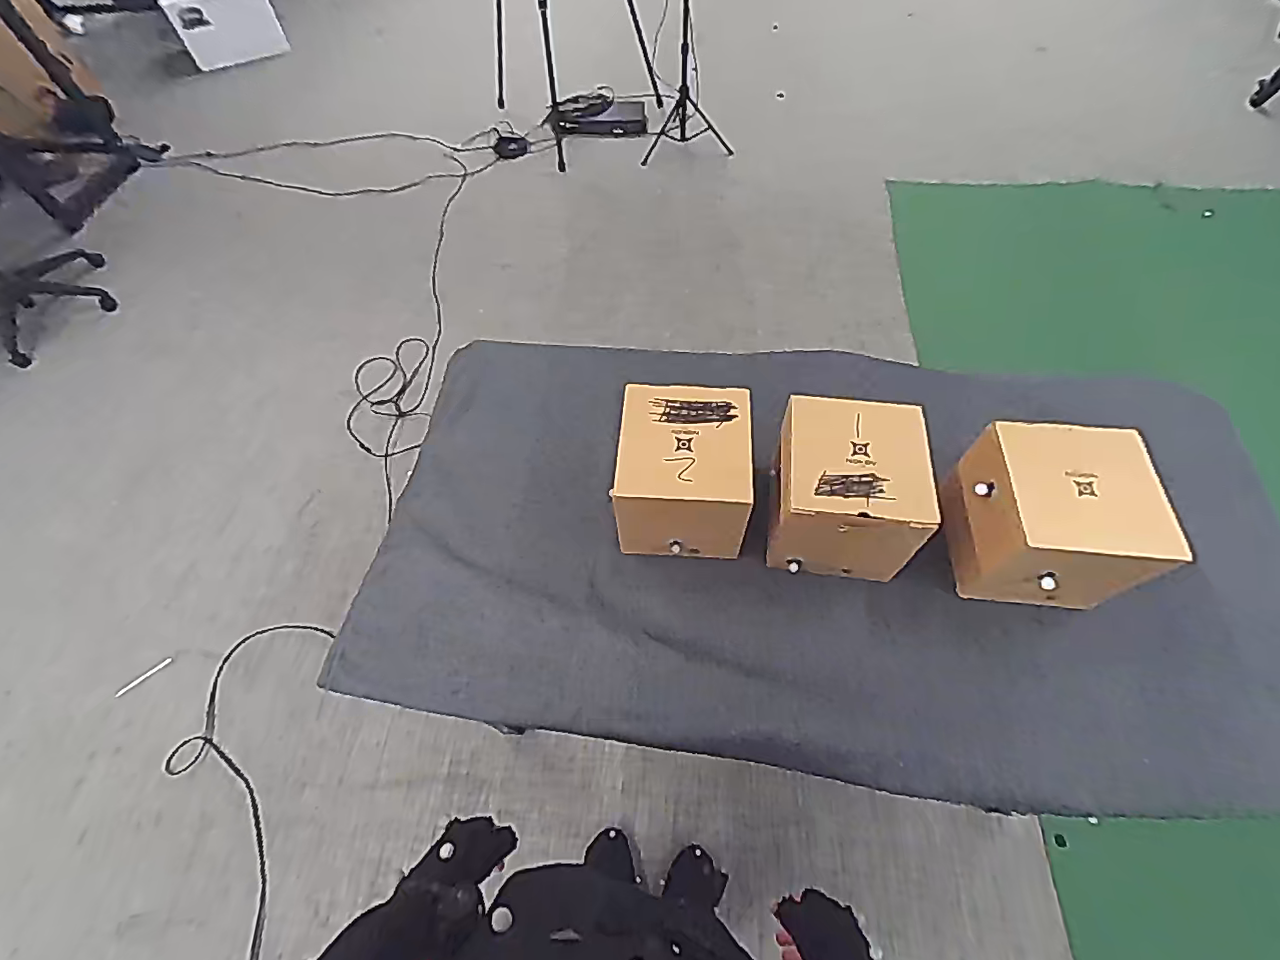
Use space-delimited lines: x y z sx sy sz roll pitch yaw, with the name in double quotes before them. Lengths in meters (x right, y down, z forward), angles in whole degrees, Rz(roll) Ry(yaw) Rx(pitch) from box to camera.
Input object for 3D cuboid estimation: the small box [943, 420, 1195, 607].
"small box" 0.511 0.048 0.679 0.168 0.176 0.179 4 58 6
